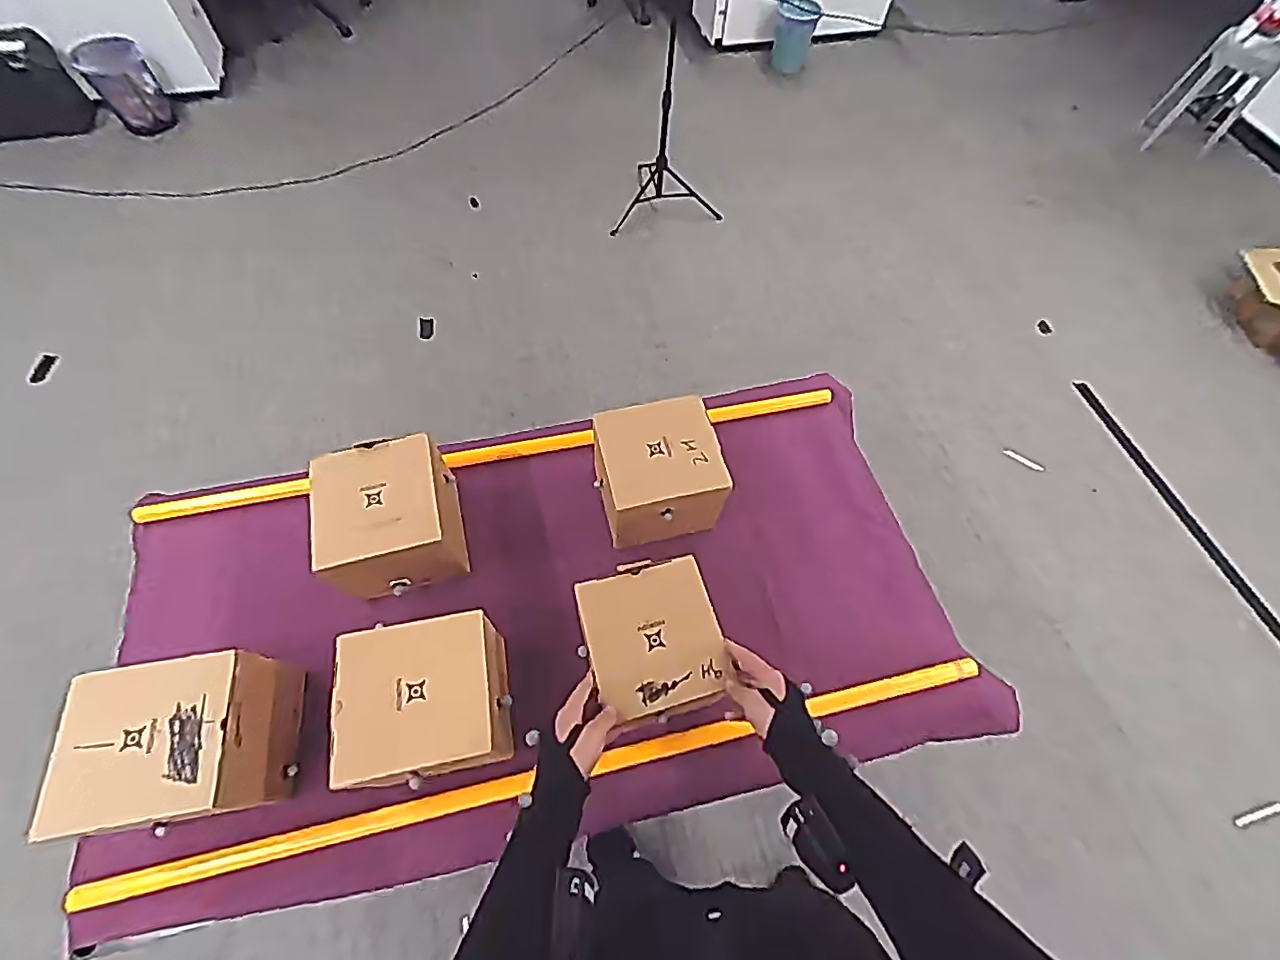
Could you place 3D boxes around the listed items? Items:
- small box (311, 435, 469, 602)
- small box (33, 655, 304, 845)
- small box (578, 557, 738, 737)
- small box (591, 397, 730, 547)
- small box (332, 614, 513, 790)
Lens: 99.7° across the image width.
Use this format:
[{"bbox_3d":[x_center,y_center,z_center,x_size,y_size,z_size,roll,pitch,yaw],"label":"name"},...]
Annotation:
[{"bbox_3d":[-0.366,0.062,0.810,0.168,0.176,0.179,-14,65,-9],"label":"small box"},{"bbox_3d":[-0.544,0.322,0.660,0.179,0.176,0.168,-8,63,-7],"label":"small box"},{"bbox_3d":[0.013,0.231,0.737,0.168,0.176,0.179,-13,62,-10],"label":"small box"},{"bbox_3d":[0.025,-0.006,0.865,0.179,0.176,0.168,-11,65,-9],"label":"small box"},{"bbox_3d":[-0.265,0.286,0.697,0.179,0.176,0.168,-10,63,-7],"label":"small box"}]
